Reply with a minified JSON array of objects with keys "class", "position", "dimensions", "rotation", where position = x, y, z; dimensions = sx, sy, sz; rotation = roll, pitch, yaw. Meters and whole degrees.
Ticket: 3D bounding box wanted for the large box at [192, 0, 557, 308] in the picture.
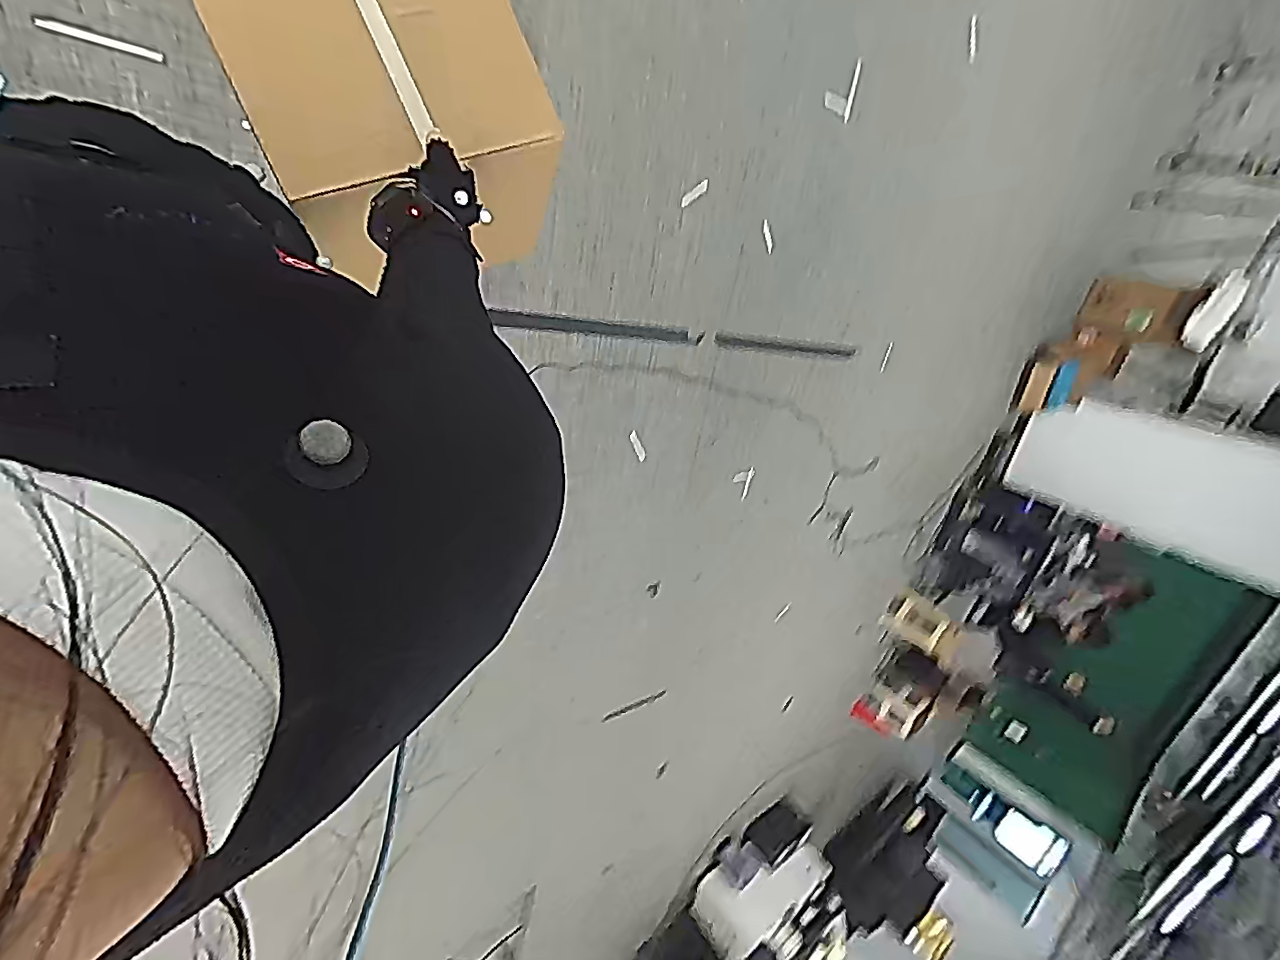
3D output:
[{"class":"large box","position":[-0.355,-0.516,0.742],"dimensions":[0.320,0.320,0.408],"rotation":[-25,94,-19]}]
